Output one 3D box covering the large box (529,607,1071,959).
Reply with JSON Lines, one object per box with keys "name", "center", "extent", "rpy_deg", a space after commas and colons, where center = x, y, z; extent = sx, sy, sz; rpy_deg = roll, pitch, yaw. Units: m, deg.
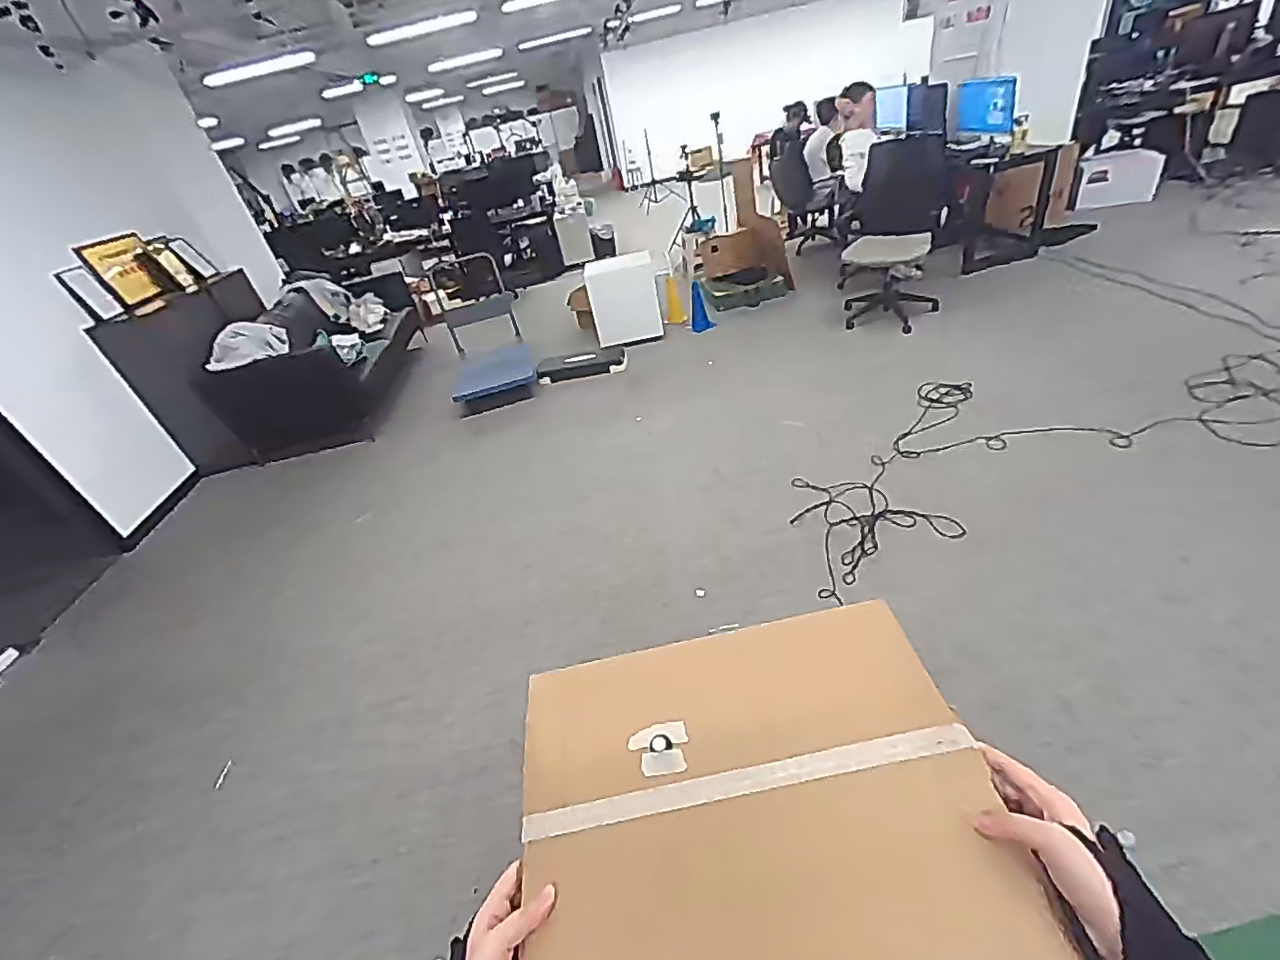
{"name": "large box", "center": [0.125, 0.394, 0.590], "extent": [0.408, 0.320, 0.320], "rpy_deg": [-15, 40, 3]}
